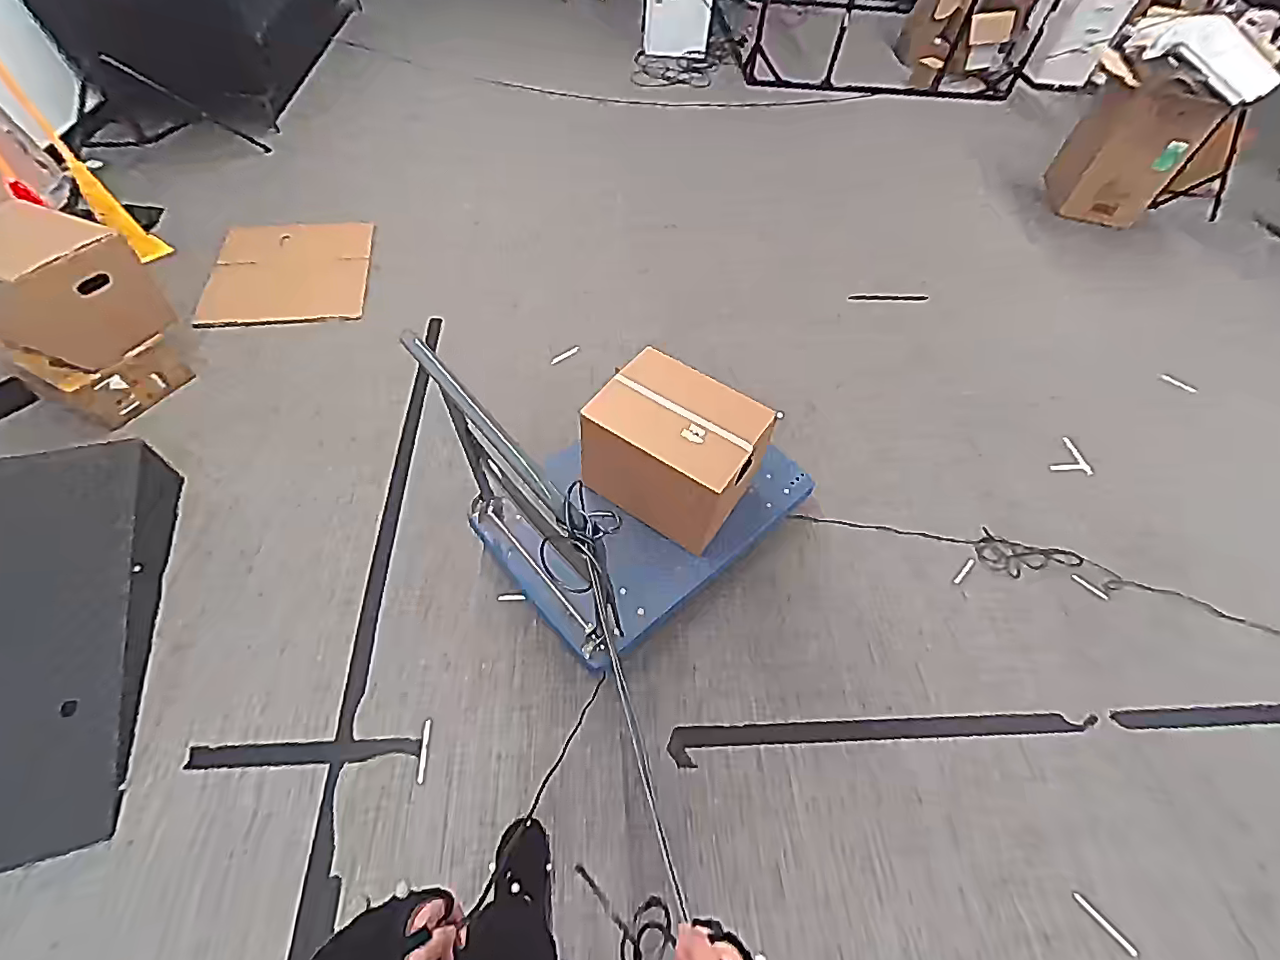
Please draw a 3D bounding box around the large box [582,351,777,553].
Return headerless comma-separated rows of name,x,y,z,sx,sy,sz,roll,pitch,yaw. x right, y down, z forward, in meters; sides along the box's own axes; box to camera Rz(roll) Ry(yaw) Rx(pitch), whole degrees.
large box,0.089,-0.076,1.467,0.408,0.320,0.320,31,59,16
